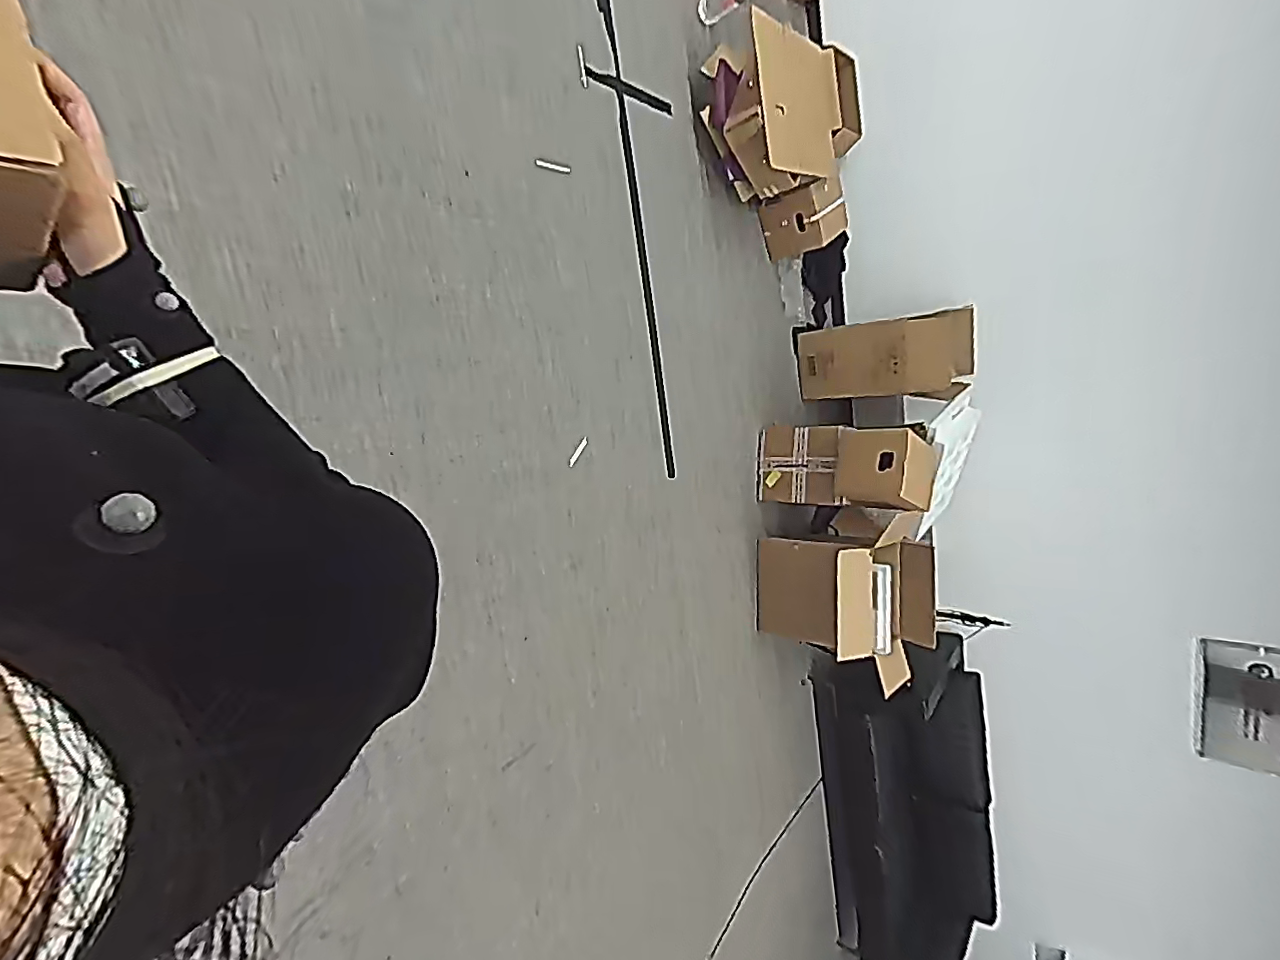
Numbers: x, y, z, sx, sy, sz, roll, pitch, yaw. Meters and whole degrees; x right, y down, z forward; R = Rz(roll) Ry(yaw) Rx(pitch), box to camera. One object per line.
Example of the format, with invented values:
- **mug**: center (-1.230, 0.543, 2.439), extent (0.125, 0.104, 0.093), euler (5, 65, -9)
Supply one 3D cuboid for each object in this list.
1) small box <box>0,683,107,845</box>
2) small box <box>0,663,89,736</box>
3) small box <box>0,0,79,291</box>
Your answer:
- **small box**: center (-0.984, 0.444, 0.842), extent (0.179, 0.176, 0.168), euler (-22, 105, -46)
- **small box**: center (-1.111, 0.449, 0.947), extent (0.179, 0.176, 0.168), euler (-25, 108, -46)
- **small box**: center (-0.414, -0.204, 0.258), extent (0.168, 0.176, 0.179), euler (-19, 97, -52)
